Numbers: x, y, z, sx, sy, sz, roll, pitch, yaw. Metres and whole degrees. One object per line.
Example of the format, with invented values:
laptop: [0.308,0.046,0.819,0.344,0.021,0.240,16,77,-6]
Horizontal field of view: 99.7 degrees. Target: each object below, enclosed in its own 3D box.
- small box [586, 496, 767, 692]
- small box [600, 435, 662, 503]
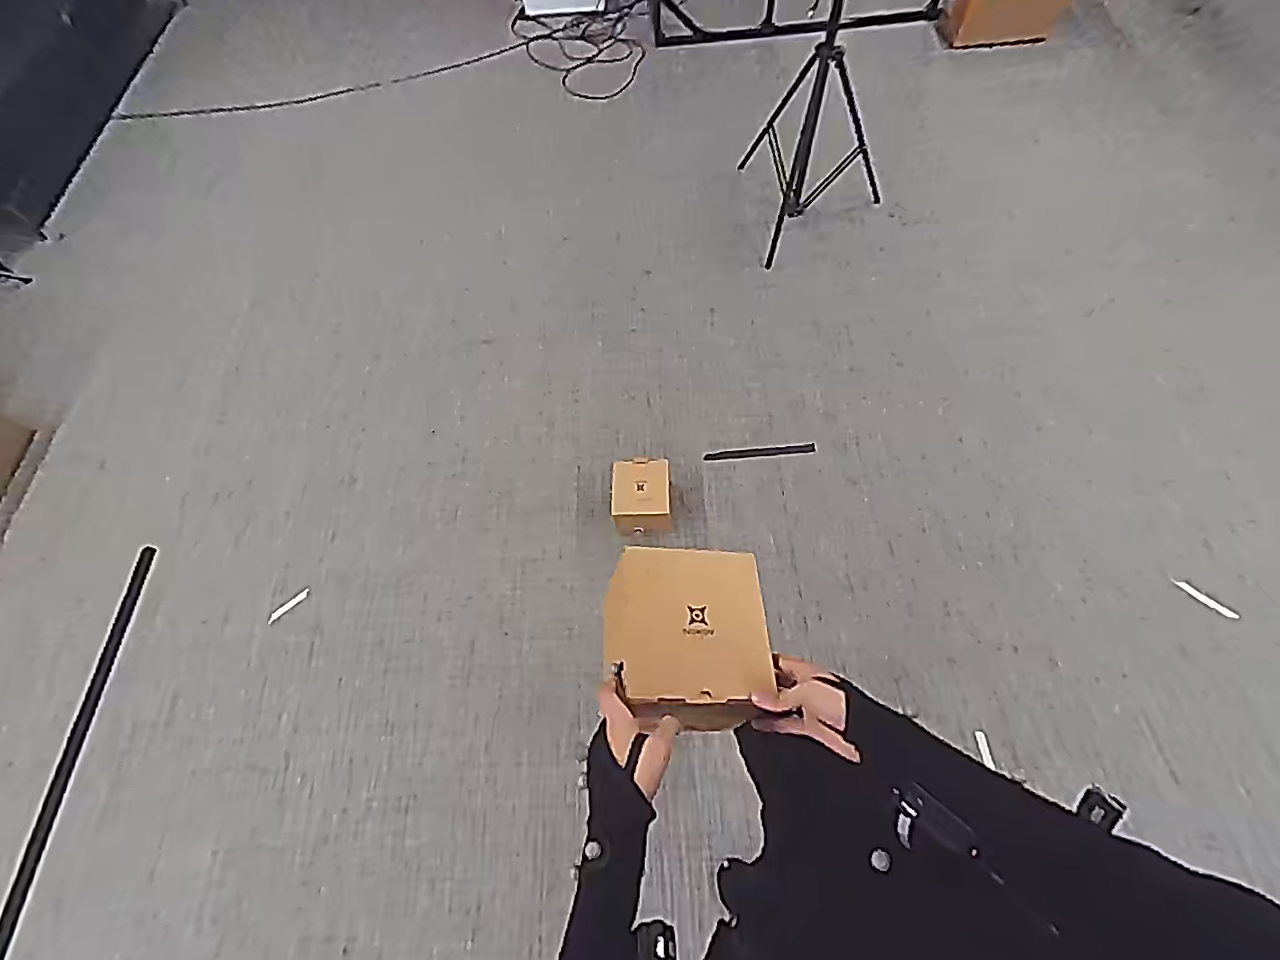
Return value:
small box: [0.027,0.140,0.636,0.168,0.176,0.179,4,57,-12]
small box: [-0.022,-0.014,1.587,0.168,0.176,0.179,-2,64,4]
